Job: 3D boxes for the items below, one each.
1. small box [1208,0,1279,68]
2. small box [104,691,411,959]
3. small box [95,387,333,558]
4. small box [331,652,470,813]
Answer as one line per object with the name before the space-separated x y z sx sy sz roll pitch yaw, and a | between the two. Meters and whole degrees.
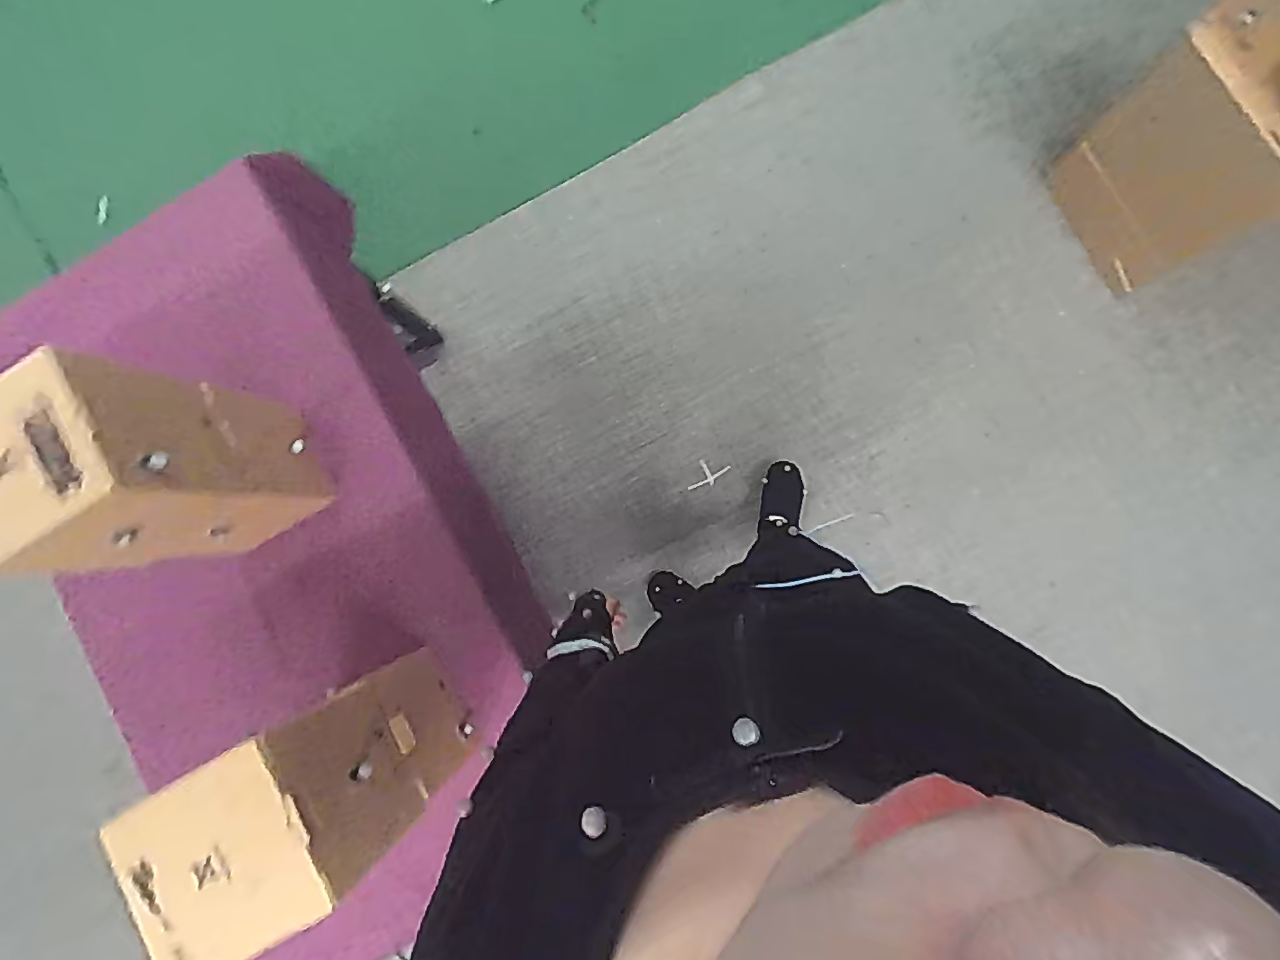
small box | 1.197 -0.896 0.956 0.179 0.176 0.168 -29 85 4
small box | -0.368 0.350 0.561 0.179 0.176 0.168 -30 83 2
small box | -0.590 -0.004 0.770 0.179 0.176 0.168 -29 85 2
small box | -0.354 0.358 0.725 0.179 0.176 0.168 -32 83 3
